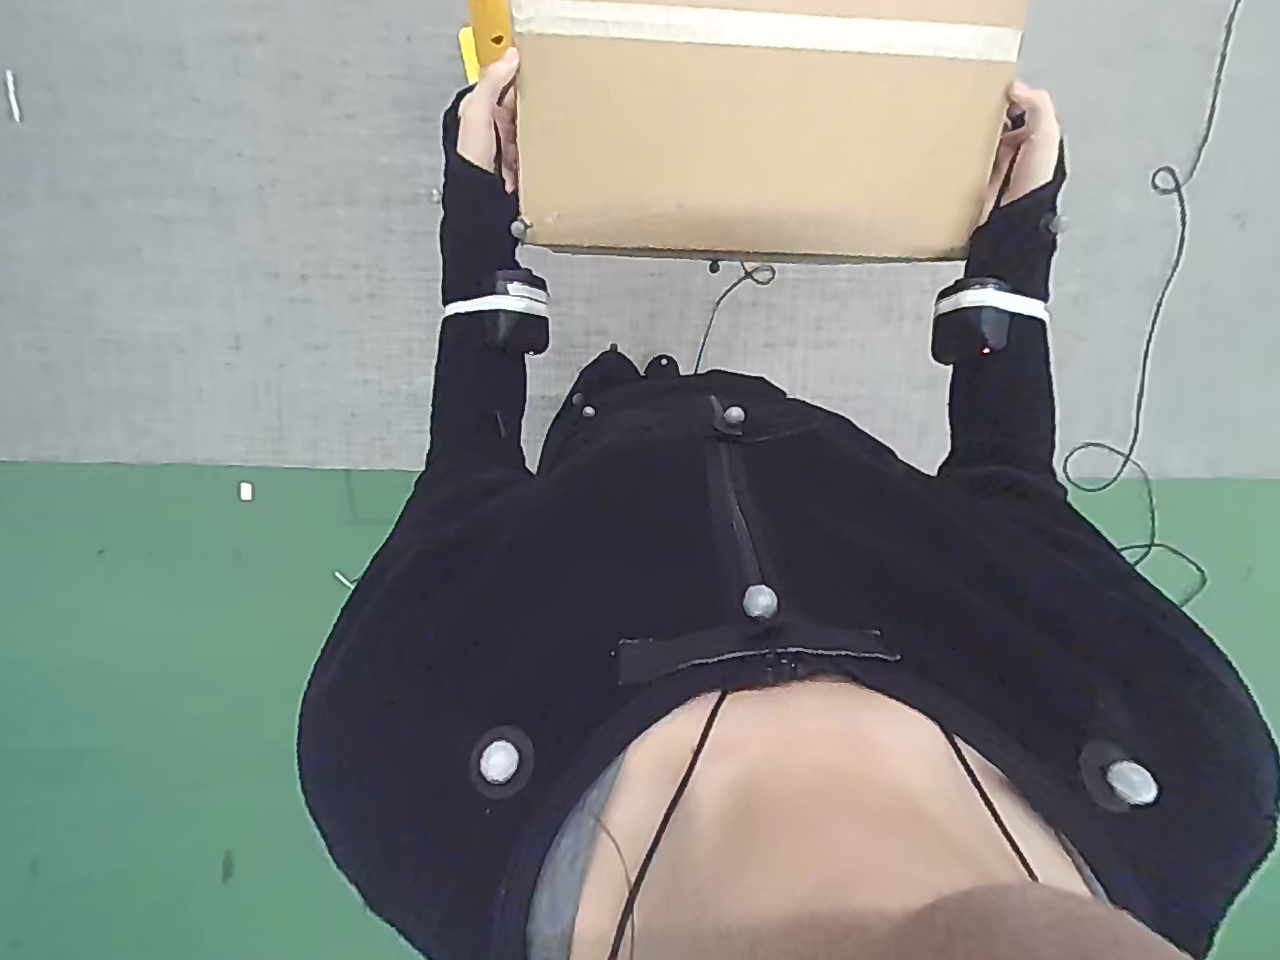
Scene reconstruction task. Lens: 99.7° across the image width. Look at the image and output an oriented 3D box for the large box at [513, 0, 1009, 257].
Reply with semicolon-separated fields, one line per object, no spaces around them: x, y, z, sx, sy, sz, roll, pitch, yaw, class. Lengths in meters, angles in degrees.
0.092;-0.409;0.576;0.408;0.320;0.320;0;110;-4;large box
